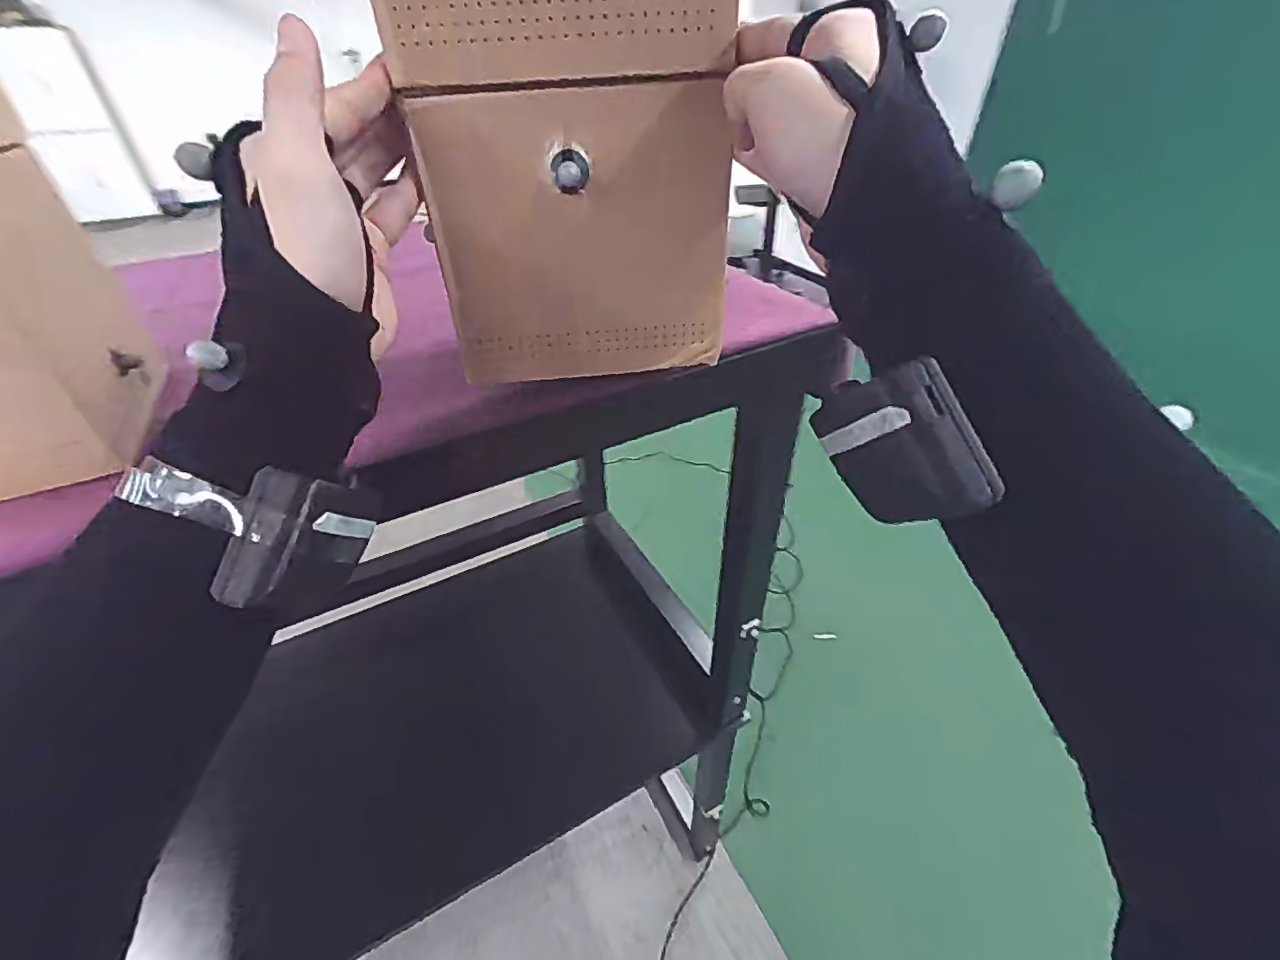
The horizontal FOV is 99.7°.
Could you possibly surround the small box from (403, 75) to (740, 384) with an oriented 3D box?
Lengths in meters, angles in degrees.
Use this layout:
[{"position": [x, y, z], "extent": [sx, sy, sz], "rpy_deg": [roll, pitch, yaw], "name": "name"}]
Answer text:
[{"position": [-0.035, -0.178, 0.383], "extent": [0.179, 0.176, 0.168], "rpy_deg": [-5, 39, -2], "name": "small box"}]
